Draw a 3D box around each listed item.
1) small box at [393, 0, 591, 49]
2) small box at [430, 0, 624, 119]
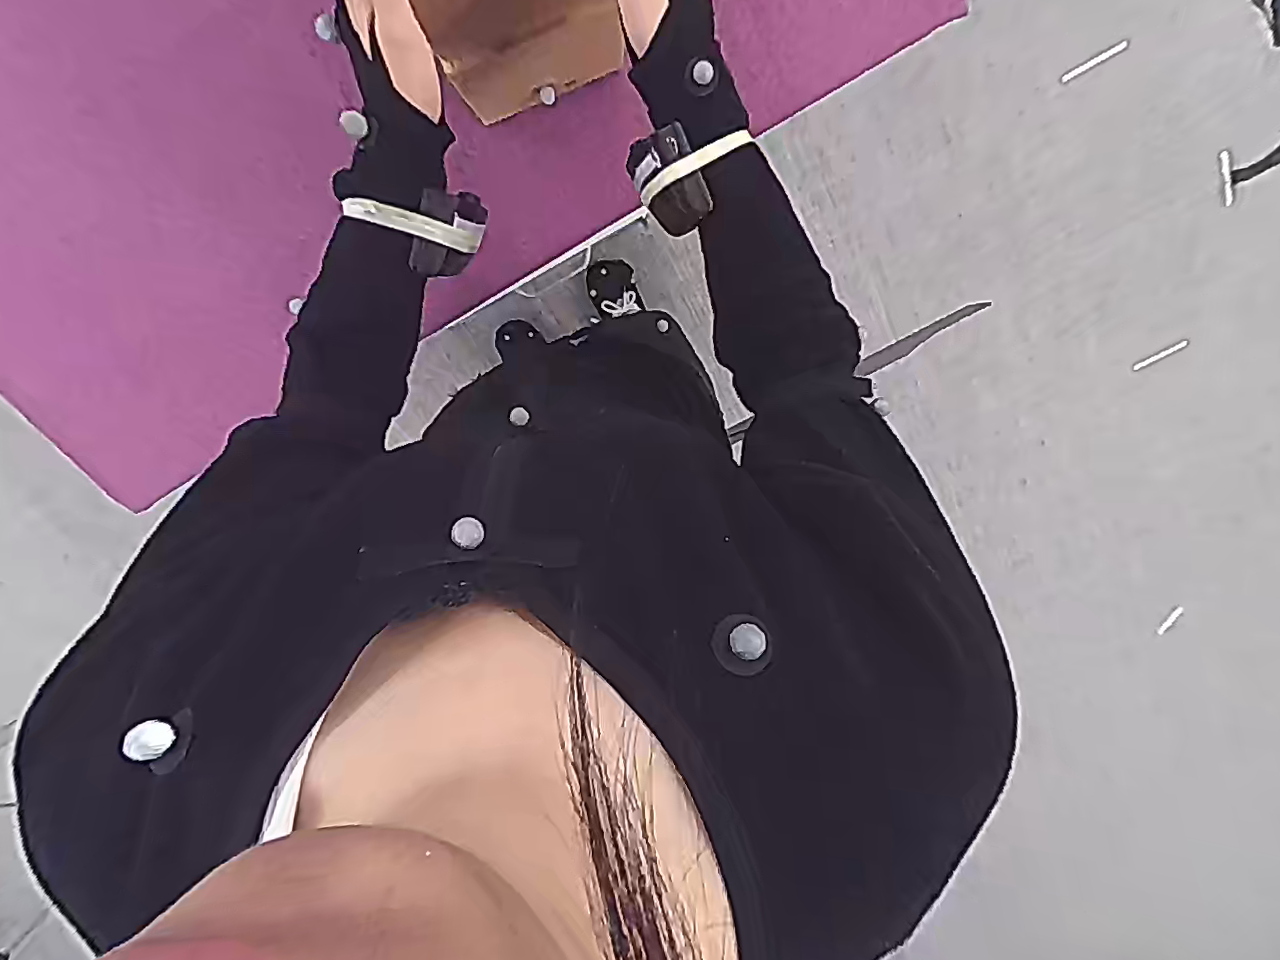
[{"bbox_3d":[-0.102,-0.415,0.338,0.179,0.176,0.168,-17,114,3],"label":"small box"},{"bbox_3d":[-0.123,-0.470,0.491,0.168,0.176,0.179,-20,112,4],"label":"small box"}]
